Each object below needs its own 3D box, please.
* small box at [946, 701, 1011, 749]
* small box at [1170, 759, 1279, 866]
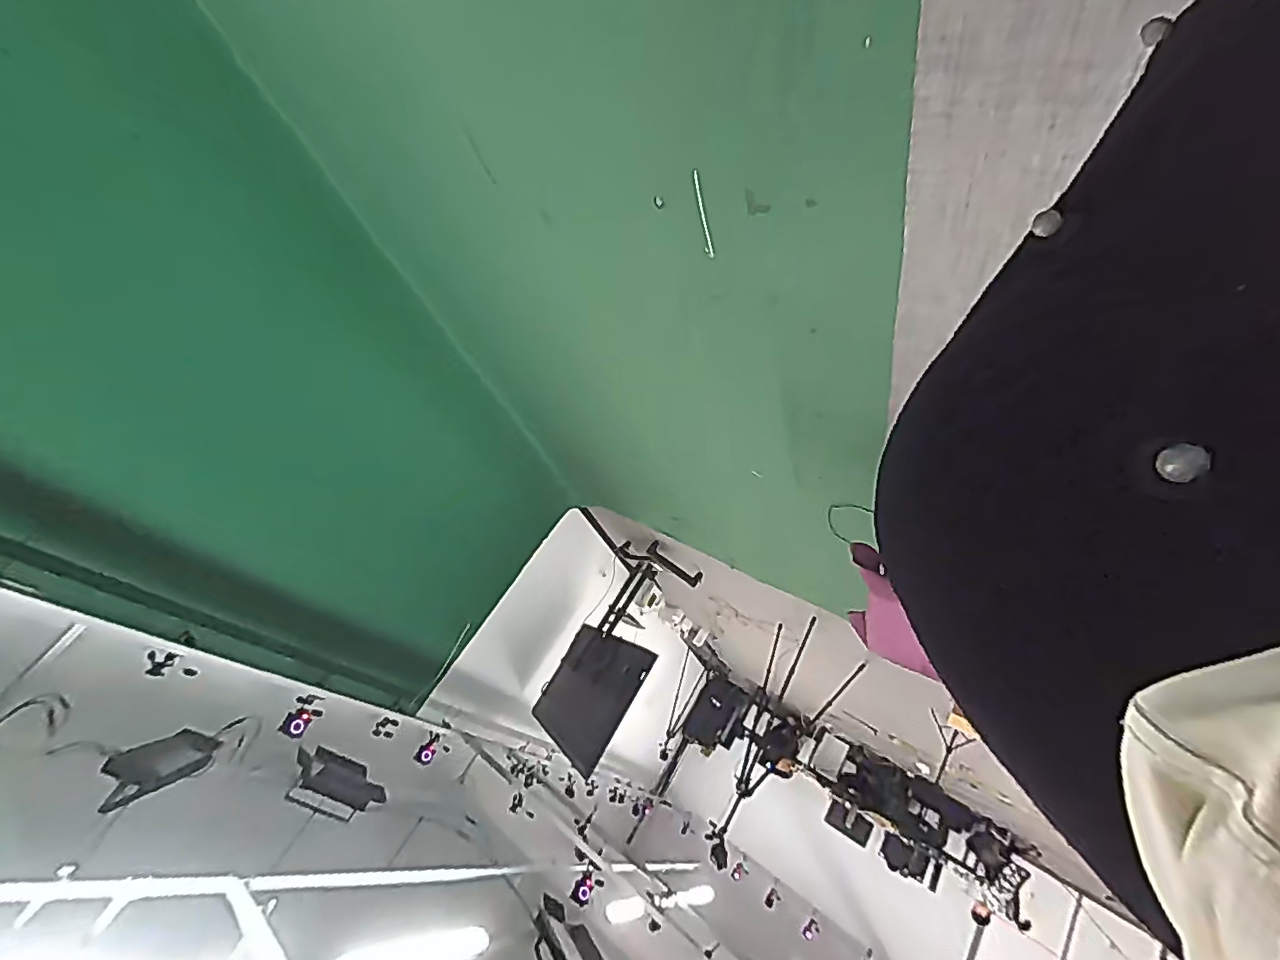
[{"bbox_3d":[1.141,0.755,1.794,0.168,0.176,0.179,20,154,34],"label":"small box"},{"bbox_3d":[1.529,0.853,1.394,0.168,0.176,0.179,22,157,32],"label":"small box"}]
